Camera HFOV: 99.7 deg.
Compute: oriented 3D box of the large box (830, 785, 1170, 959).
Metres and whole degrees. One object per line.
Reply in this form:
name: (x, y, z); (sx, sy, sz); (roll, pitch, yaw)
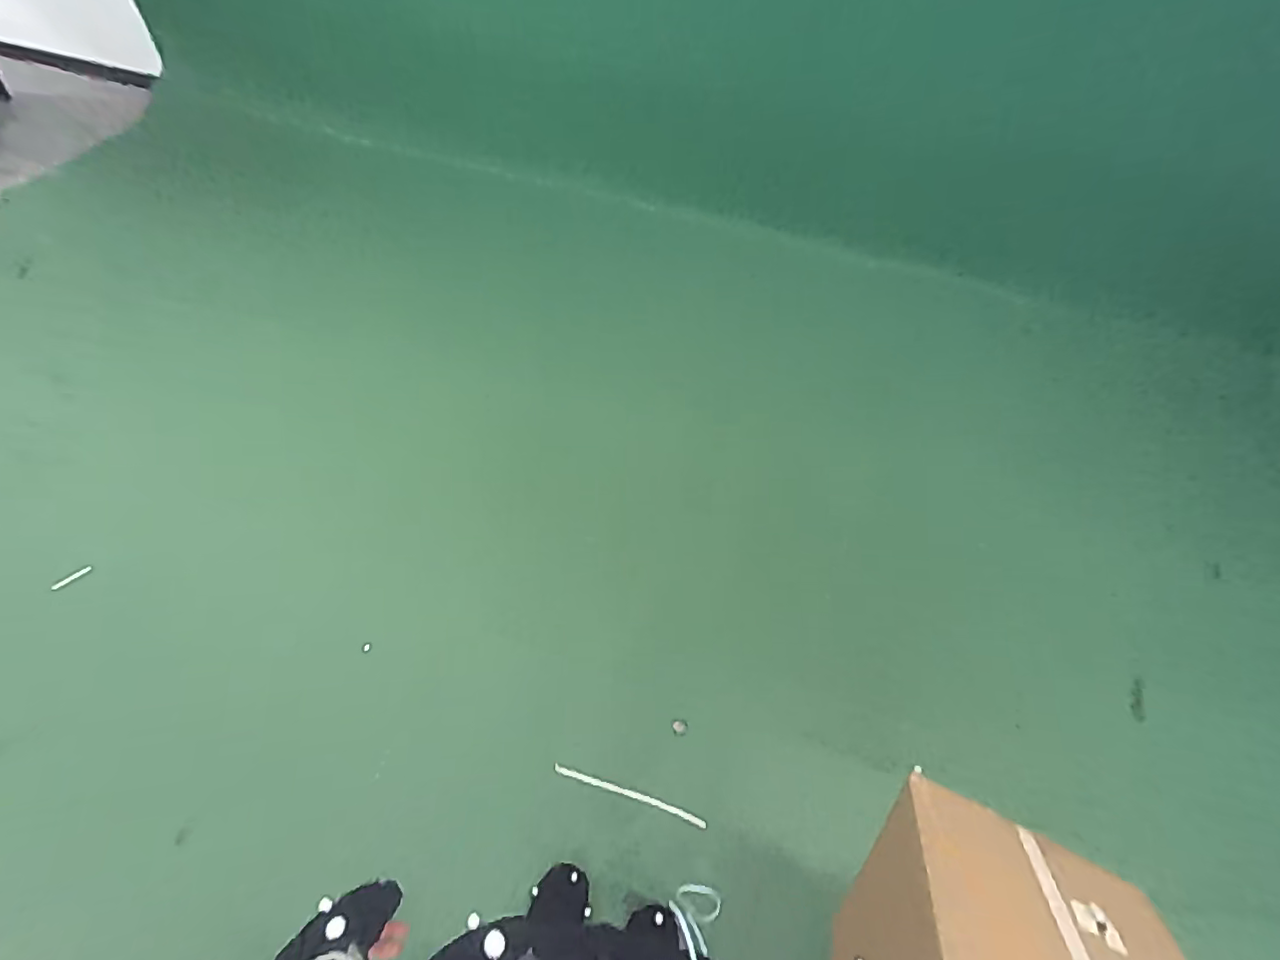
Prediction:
large box: (0.426, 0.674, 0.626); (0.320, 0.408, 0.320); (24, 101, 17)
